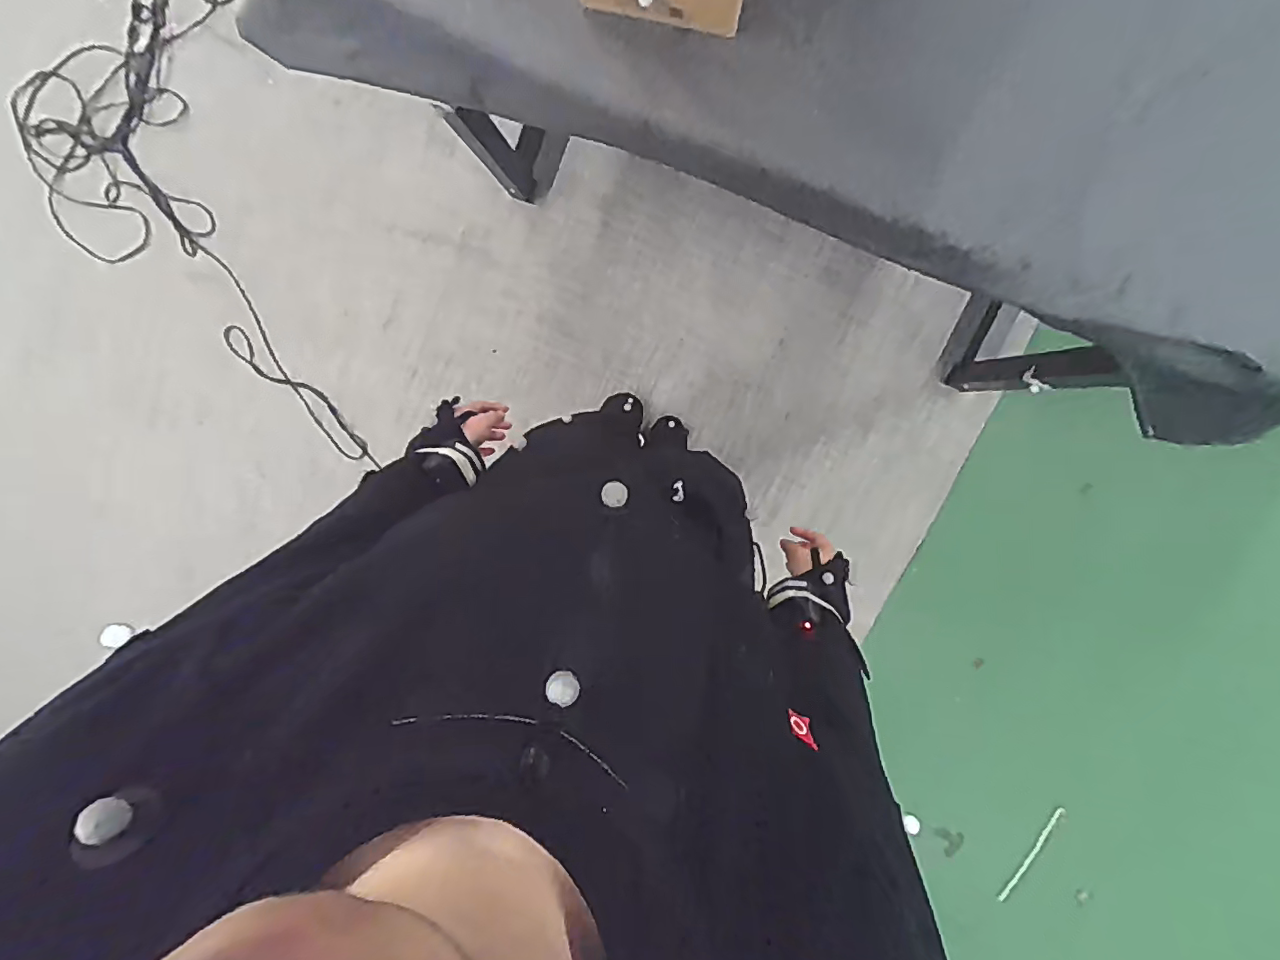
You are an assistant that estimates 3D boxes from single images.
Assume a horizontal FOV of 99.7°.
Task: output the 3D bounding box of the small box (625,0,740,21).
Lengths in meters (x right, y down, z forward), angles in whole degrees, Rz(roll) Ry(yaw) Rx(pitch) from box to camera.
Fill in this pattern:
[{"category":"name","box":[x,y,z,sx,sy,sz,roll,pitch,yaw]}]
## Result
[{"category":"small box","box":[0.031,-0.552,0.457,0.168,0.176,0.179,13,101,2]}]
